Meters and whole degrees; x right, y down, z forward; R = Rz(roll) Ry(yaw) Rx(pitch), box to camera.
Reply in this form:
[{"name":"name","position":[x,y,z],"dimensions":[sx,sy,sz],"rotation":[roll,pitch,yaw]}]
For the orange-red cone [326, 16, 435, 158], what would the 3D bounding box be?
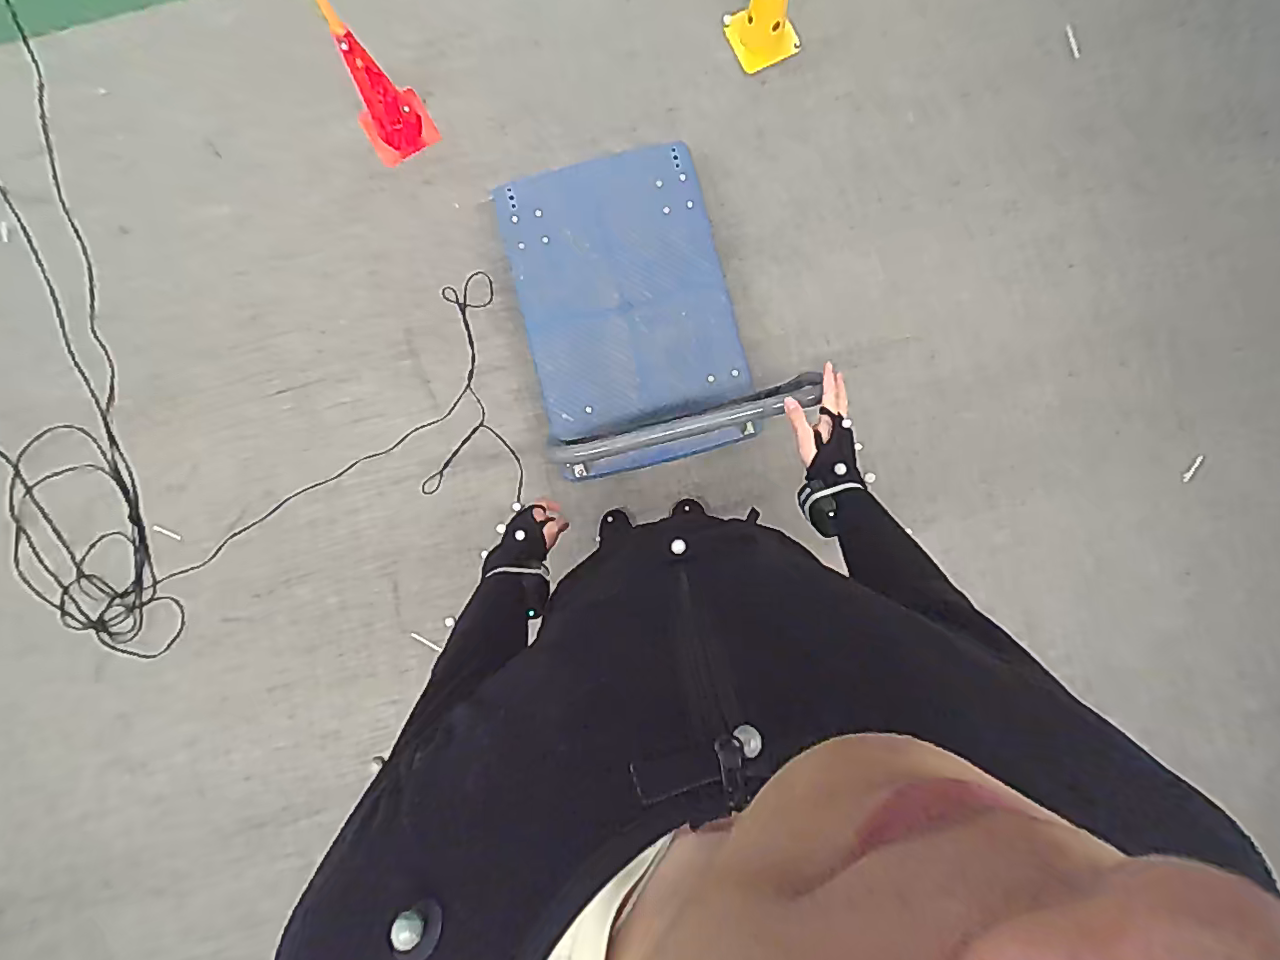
[{"name":"orange-red cone","position":[-0.764,-1.131,1.521],"dimensions":[0.199,0.360,0.198],"rotation":[-29,87,0]}]
